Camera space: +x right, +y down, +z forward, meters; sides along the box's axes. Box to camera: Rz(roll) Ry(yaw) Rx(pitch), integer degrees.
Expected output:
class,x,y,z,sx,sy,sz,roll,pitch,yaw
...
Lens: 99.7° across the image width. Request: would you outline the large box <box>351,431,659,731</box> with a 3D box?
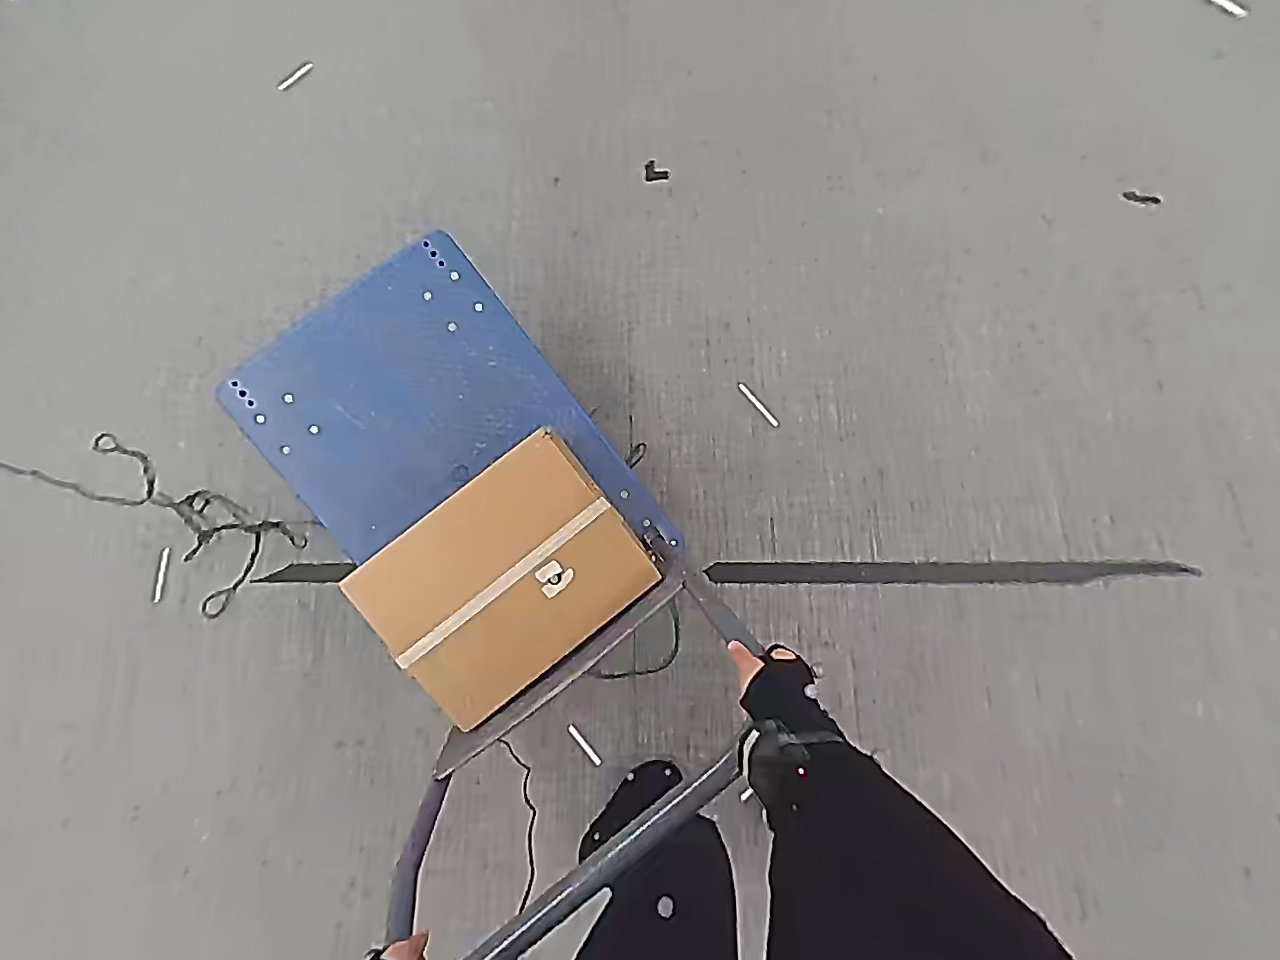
class,x,y,z,sx,sy,sz,roll,pitch,yaw
large box,-0.227,0.162,1.016,0.408,0.320,0.320,-39,95,-4
